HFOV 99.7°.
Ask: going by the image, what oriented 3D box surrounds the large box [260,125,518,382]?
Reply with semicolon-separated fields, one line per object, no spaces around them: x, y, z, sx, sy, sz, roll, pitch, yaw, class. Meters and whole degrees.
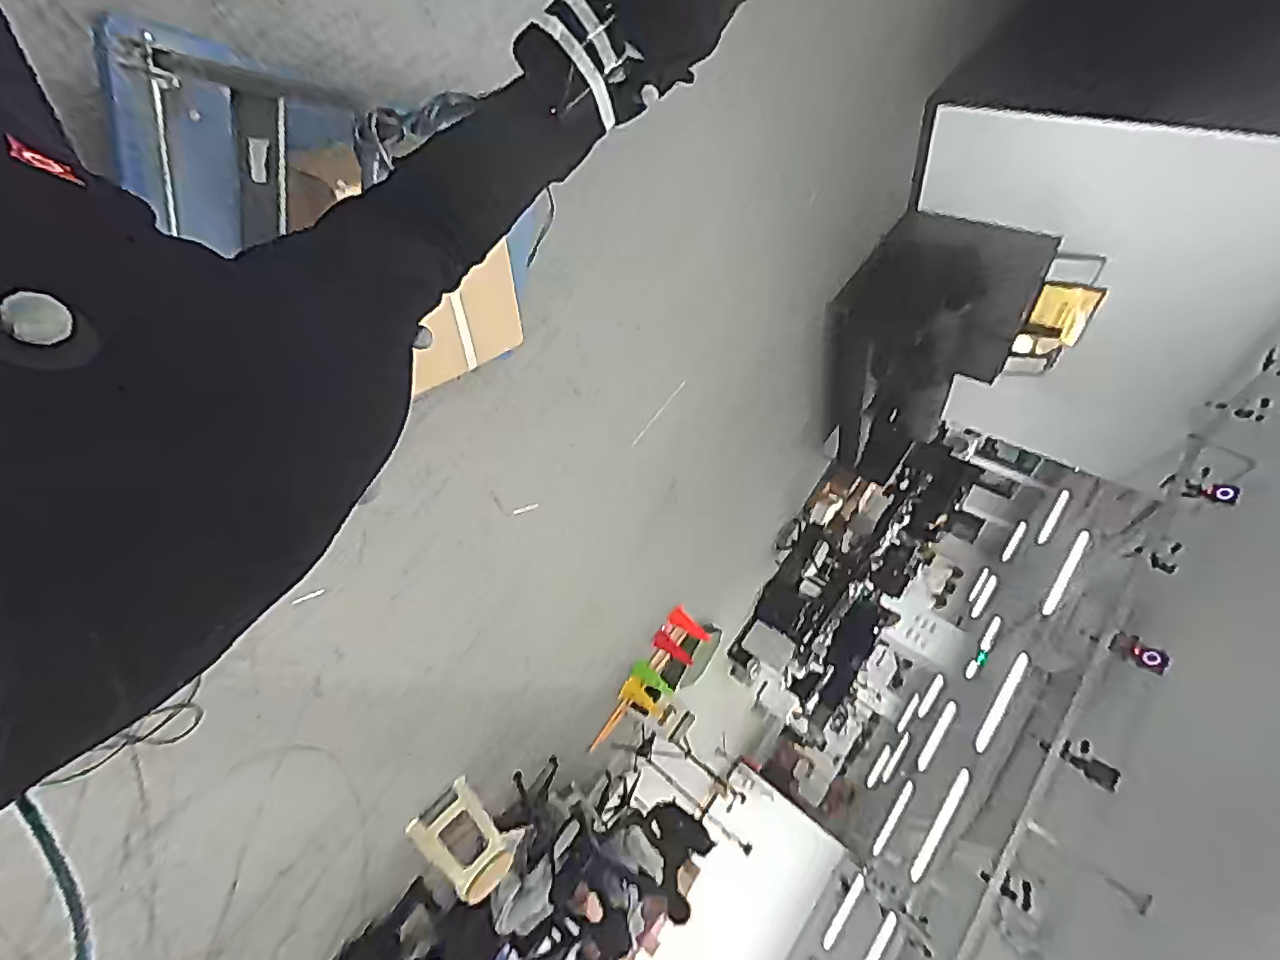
-0.508;-0.489;1.158;0.320;0.320;0.408;-38;144;-33;large box
